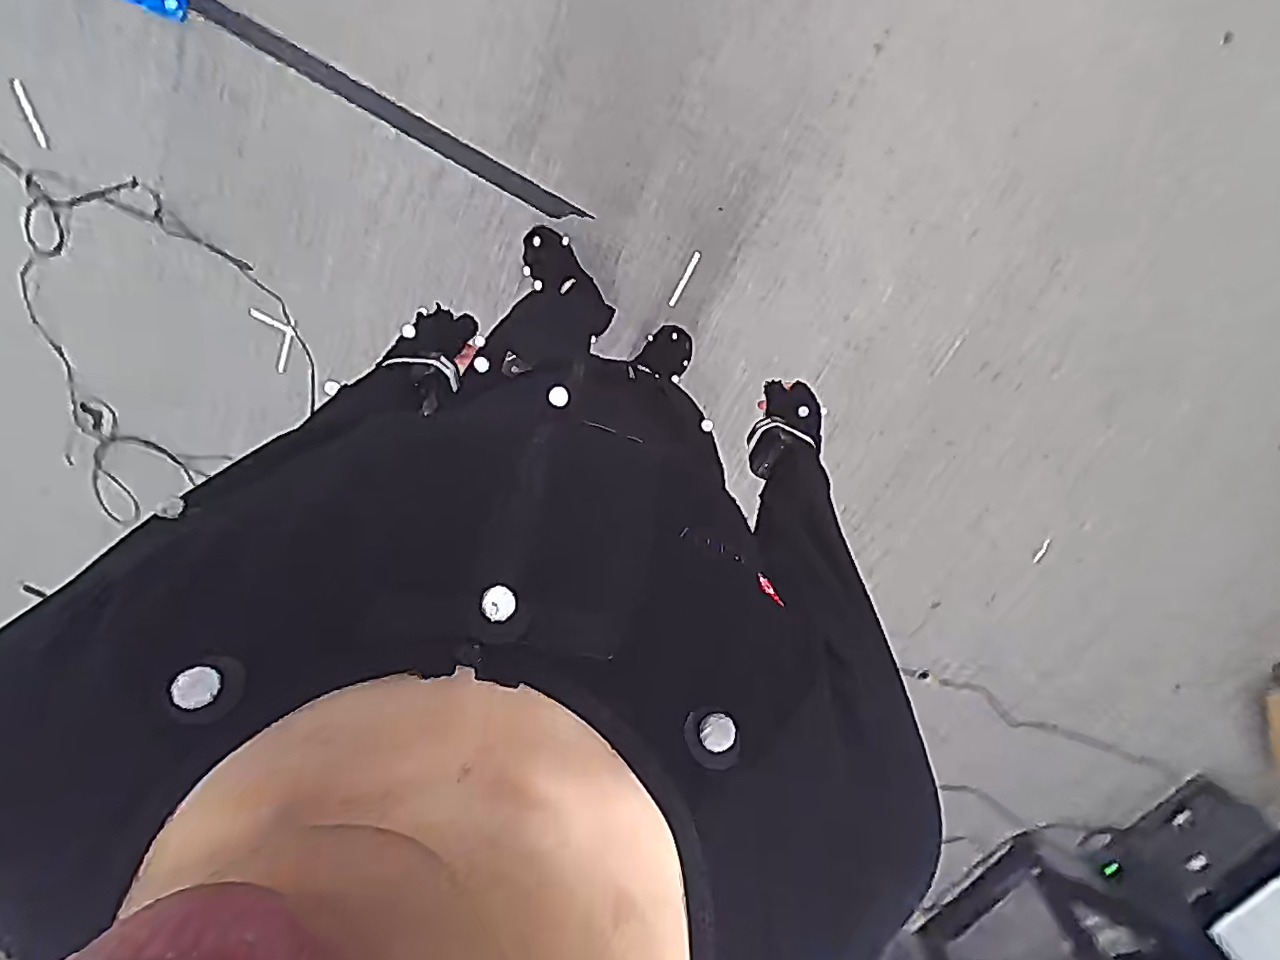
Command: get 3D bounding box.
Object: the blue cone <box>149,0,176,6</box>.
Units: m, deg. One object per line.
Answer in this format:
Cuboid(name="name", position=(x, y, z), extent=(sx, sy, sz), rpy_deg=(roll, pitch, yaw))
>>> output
Cuboid(name="blue cone", position=(-1.094, -1.108, 1.017), extent=(0.193, 0.380, 0.192), rpy_deg=(24, 108, -5))
